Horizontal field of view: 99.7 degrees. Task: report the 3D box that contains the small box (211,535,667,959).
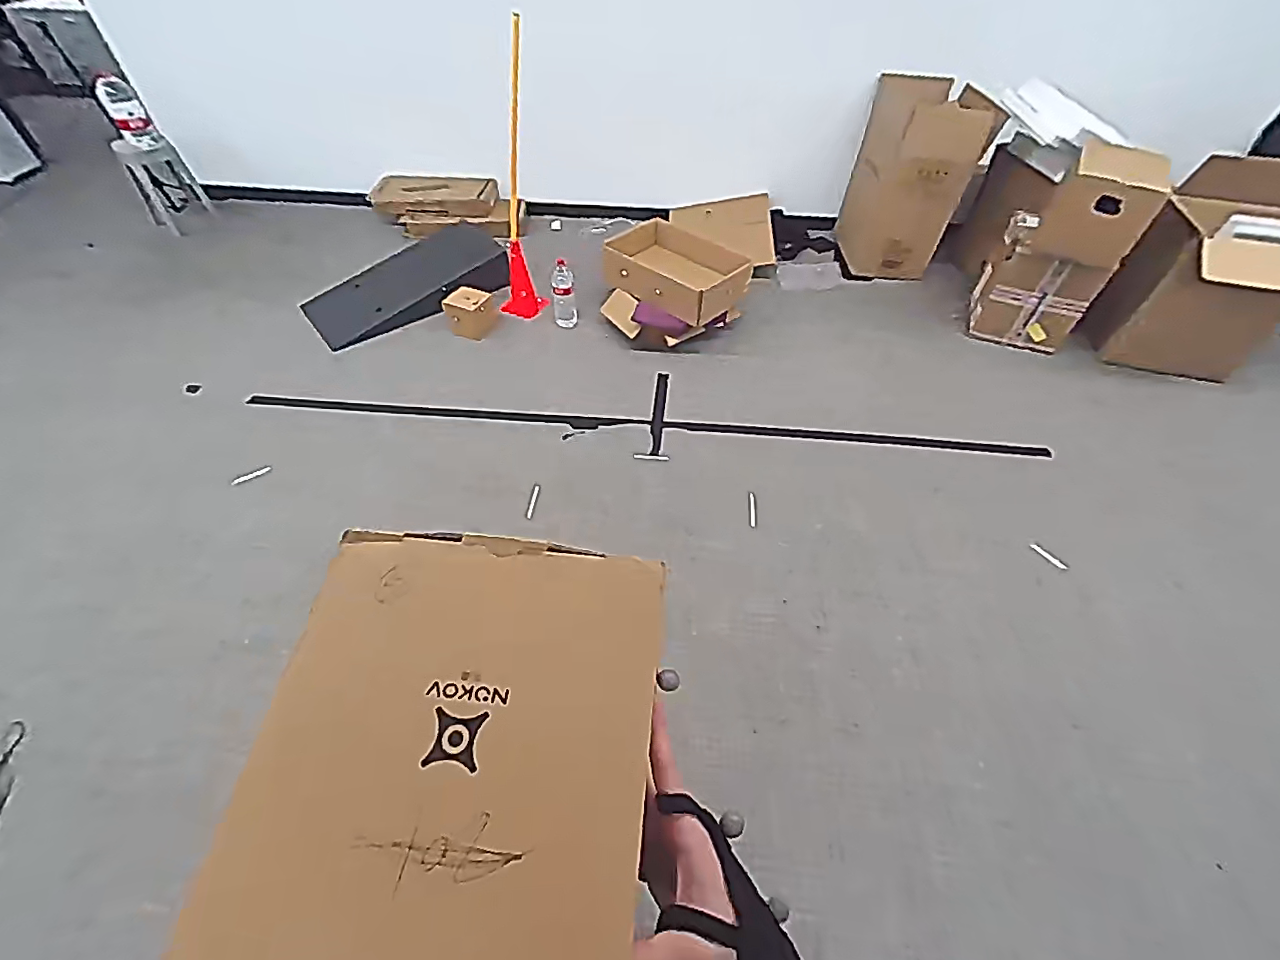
[{"bbox_3d":[-0.077,0.151,0.313,0.168,0.176,0.179,5,60,2],"label":"small box"}]
